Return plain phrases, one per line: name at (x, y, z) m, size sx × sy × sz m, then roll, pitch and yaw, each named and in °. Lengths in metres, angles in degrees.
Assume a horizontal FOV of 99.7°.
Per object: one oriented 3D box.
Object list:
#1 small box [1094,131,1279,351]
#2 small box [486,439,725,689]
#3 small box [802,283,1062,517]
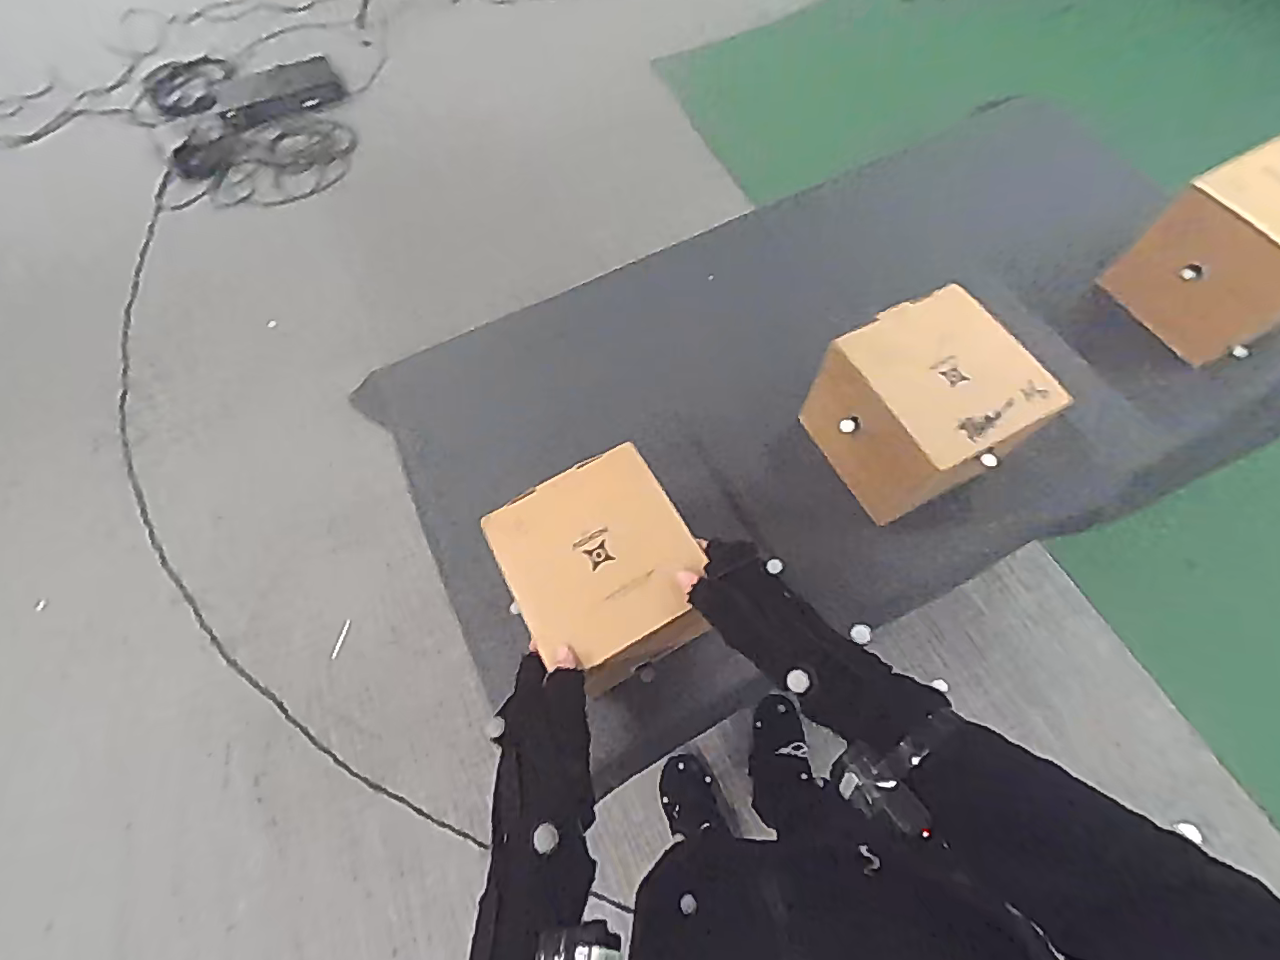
small box at (0.757, -0.290, 0.690) m, size 0.168 × 0.176 × 0.179 m, roll -27°, pitch 67°, yaw -6°
small box at (-0.031, 0.096, 0.564) m, size 0.168 × 0.176 × 0.179 m, roll -29°, pitch 66°, yaw -9°
small box at (0.315, -0.085, 0.631) m, size 0.168 × 0.176 × 0.179 m, roll -27°, pitch 67°, yaw -8°
